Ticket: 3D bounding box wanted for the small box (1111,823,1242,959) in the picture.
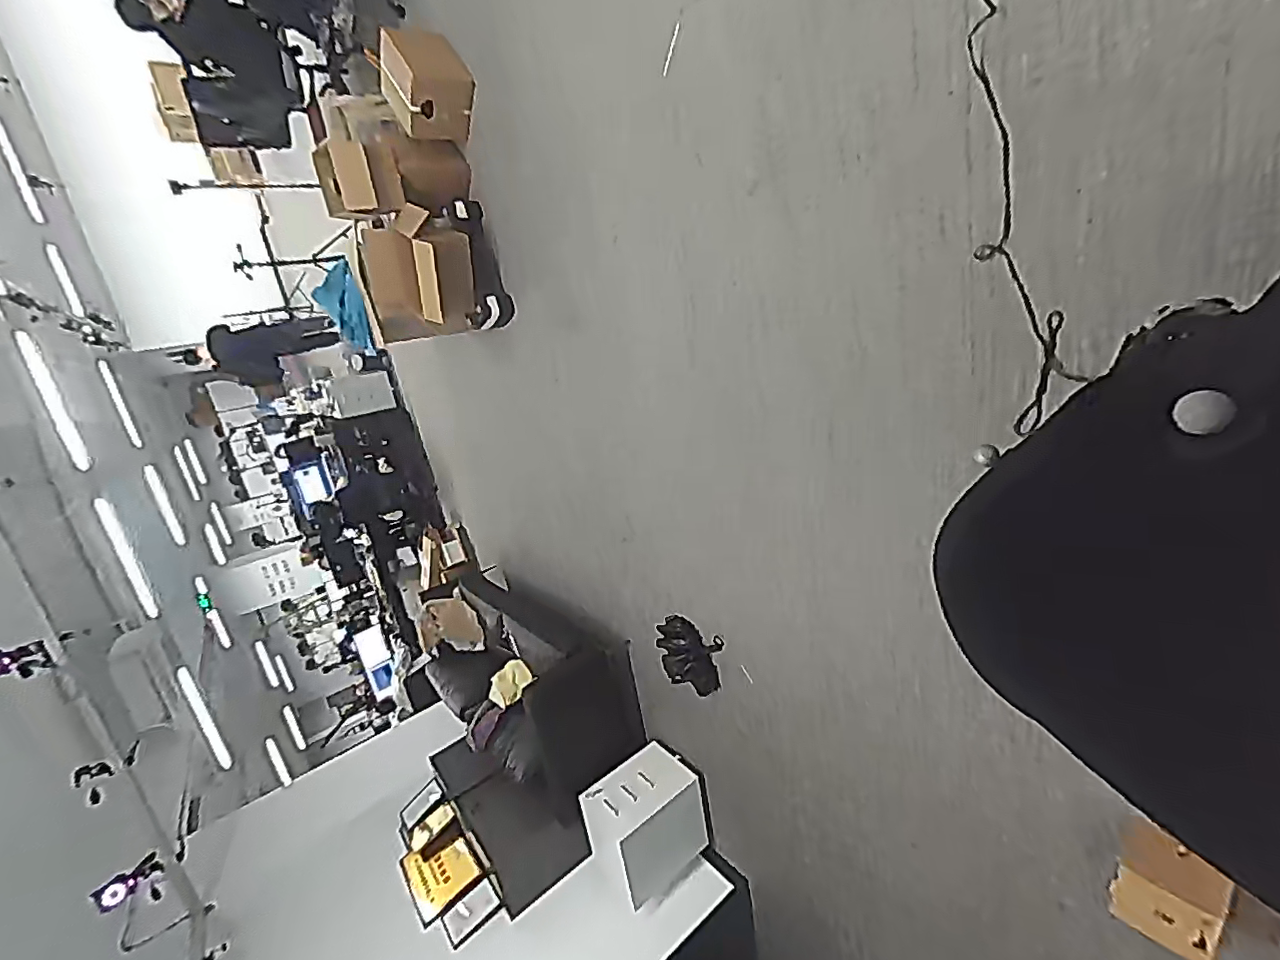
[{"bbox_3d":[1.253,0.952,1.267,0.179,0.176,0.168,17,122,50],"label":"small box"}]
